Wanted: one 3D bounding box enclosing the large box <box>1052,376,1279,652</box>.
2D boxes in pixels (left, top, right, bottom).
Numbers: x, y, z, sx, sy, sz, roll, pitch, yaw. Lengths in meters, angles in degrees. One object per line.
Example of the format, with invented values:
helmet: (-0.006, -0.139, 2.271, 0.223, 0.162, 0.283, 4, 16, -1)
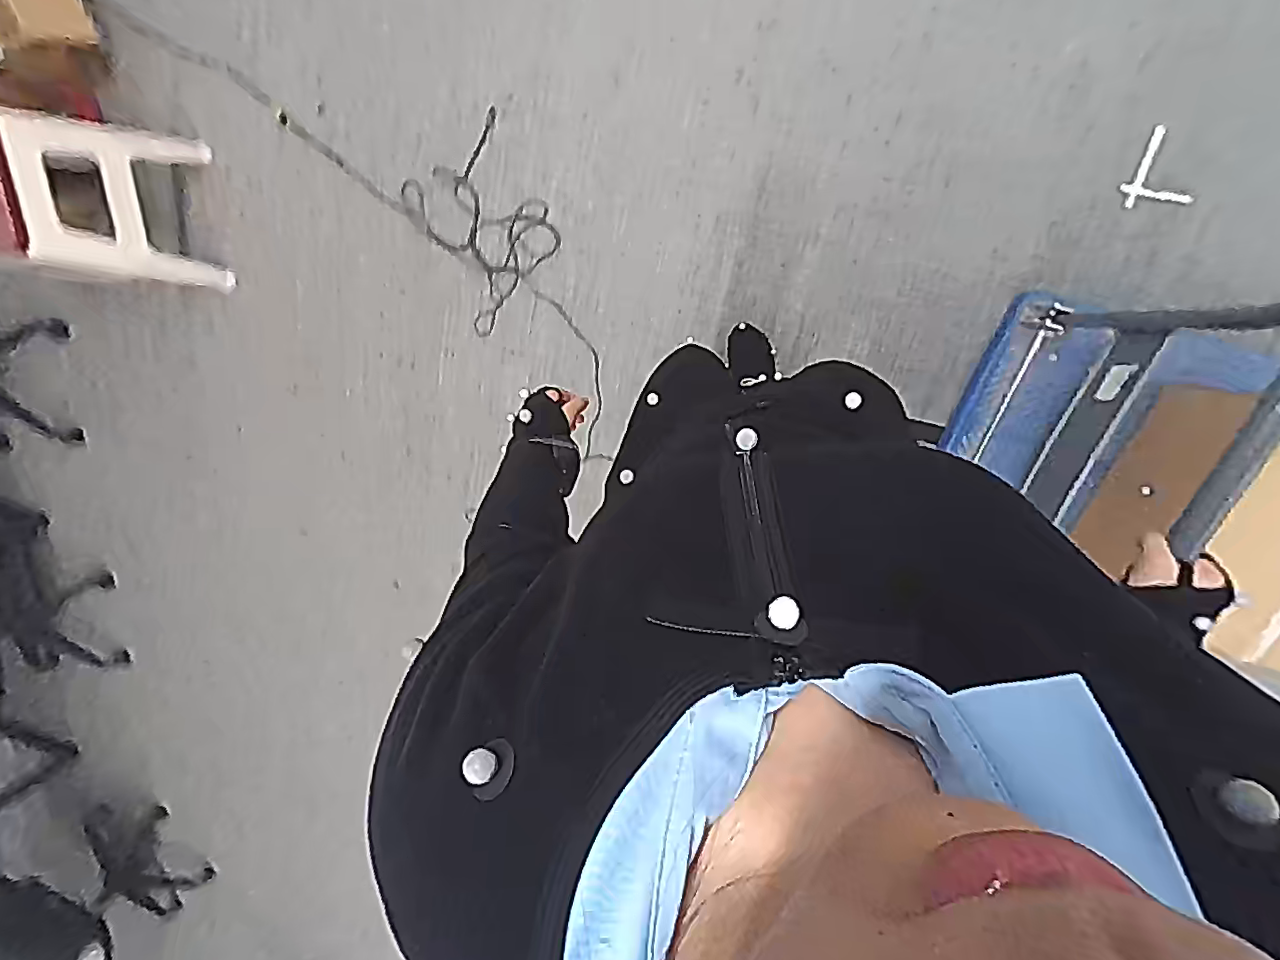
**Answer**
large box: (1.098, 0.051, 1.017, 0.320, 0.320, 0.408, 19, 108, 5)
